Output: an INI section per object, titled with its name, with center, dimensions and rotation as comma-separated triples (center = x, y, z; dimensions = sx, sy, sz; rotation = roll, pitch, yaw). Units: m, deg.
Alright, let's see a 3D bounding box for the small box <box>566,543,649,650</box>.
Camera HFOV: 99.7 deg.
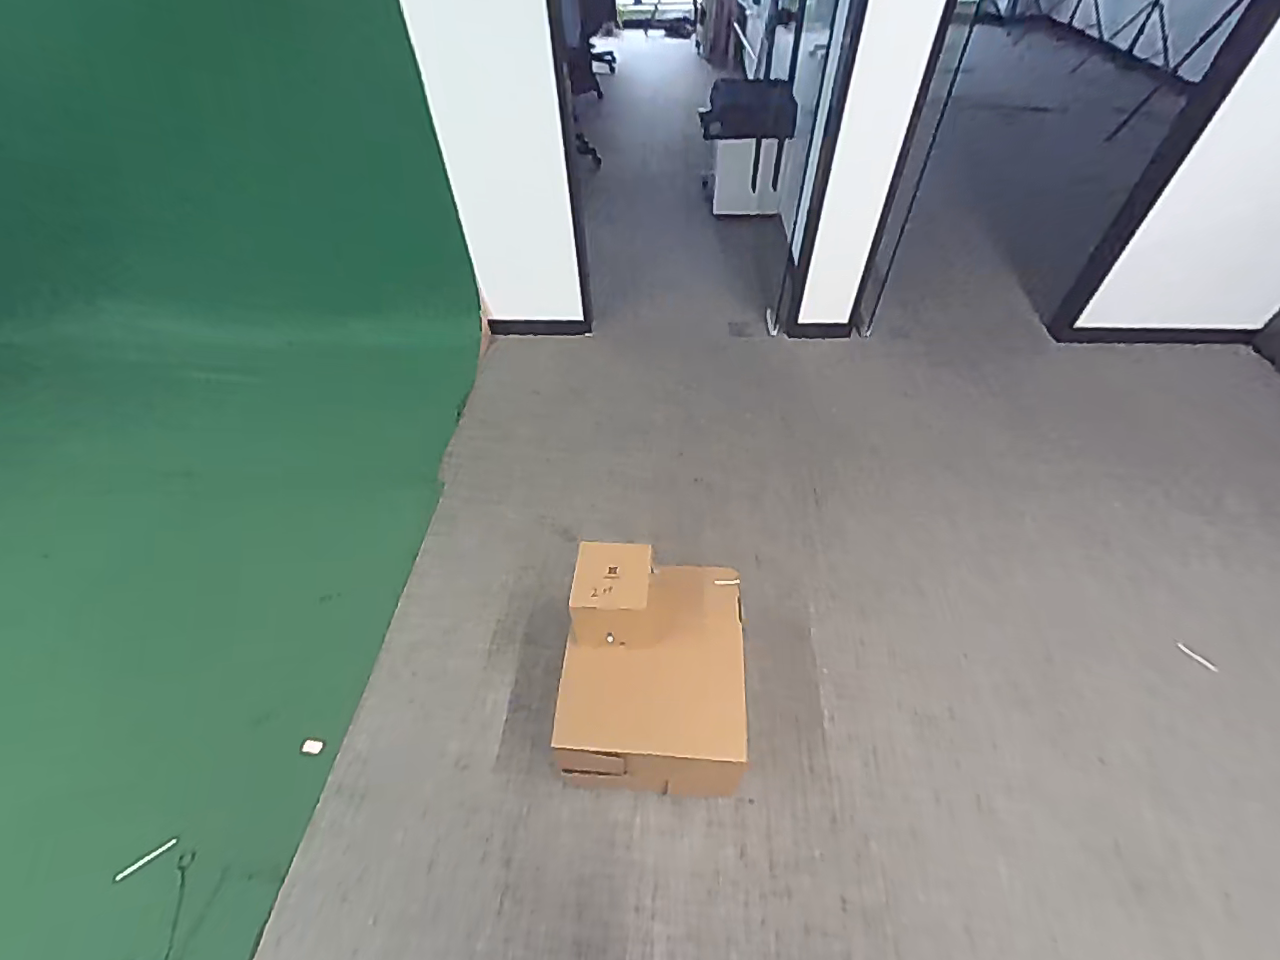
[small box]
center = -0.066, 0.266, 1.238
dimensions = 0.168, 0.176, 0.179
rotation = 2, 46, 4
